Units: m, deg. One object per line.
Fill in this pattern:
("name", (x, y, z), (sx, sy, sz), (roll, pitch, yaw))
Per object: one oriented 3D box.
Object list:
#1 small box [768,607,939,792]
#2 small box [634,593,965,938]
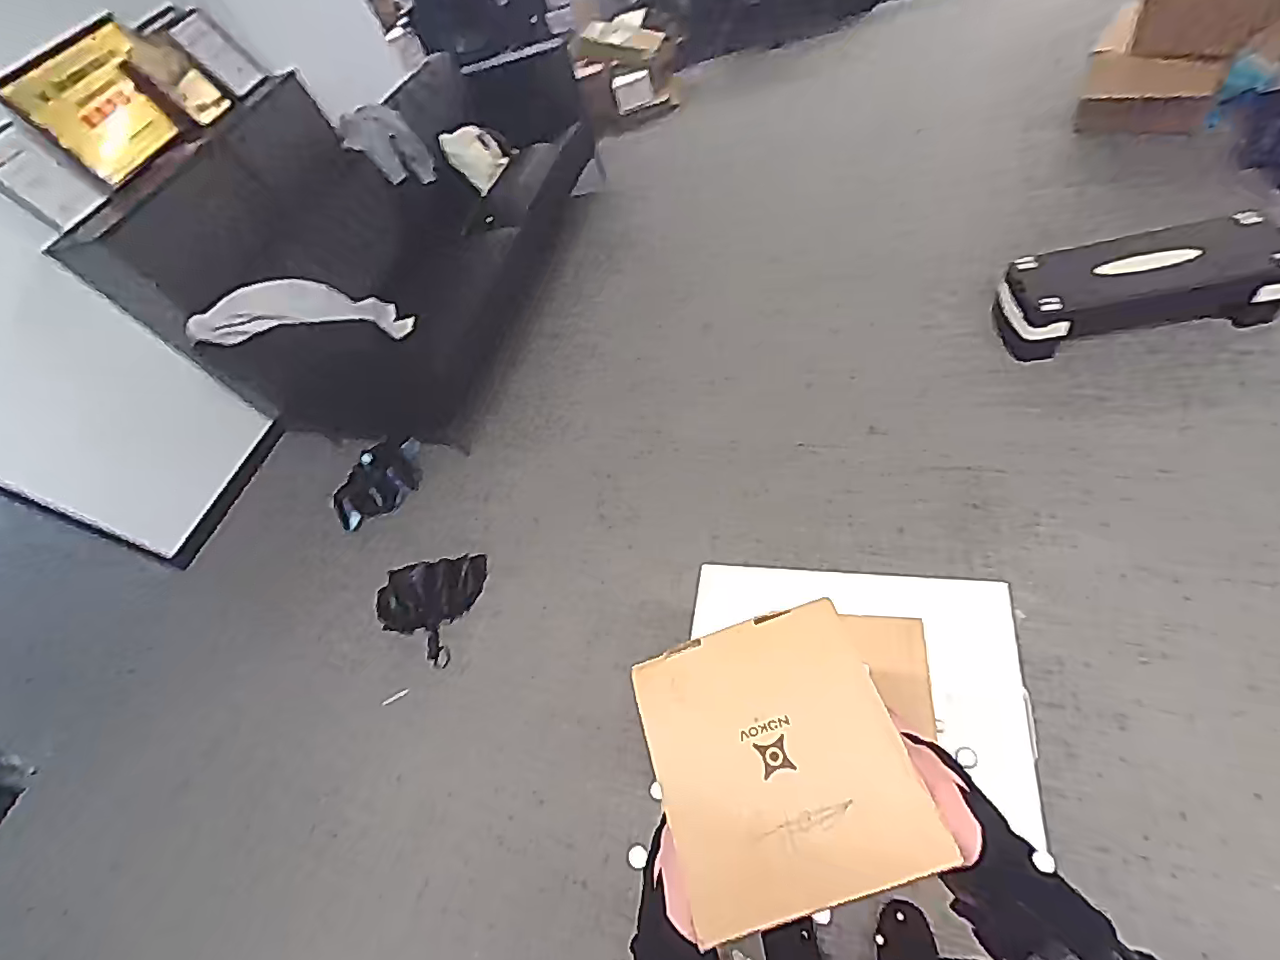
("small box", (0.238, 0.264, 0.627), (0.168, 0.176, 0.179), (-2, 54, 20))
("small box", (0.112, 0.223, 0.432), (0.168, 0.176, 0.179), (-23, 54, 3))
